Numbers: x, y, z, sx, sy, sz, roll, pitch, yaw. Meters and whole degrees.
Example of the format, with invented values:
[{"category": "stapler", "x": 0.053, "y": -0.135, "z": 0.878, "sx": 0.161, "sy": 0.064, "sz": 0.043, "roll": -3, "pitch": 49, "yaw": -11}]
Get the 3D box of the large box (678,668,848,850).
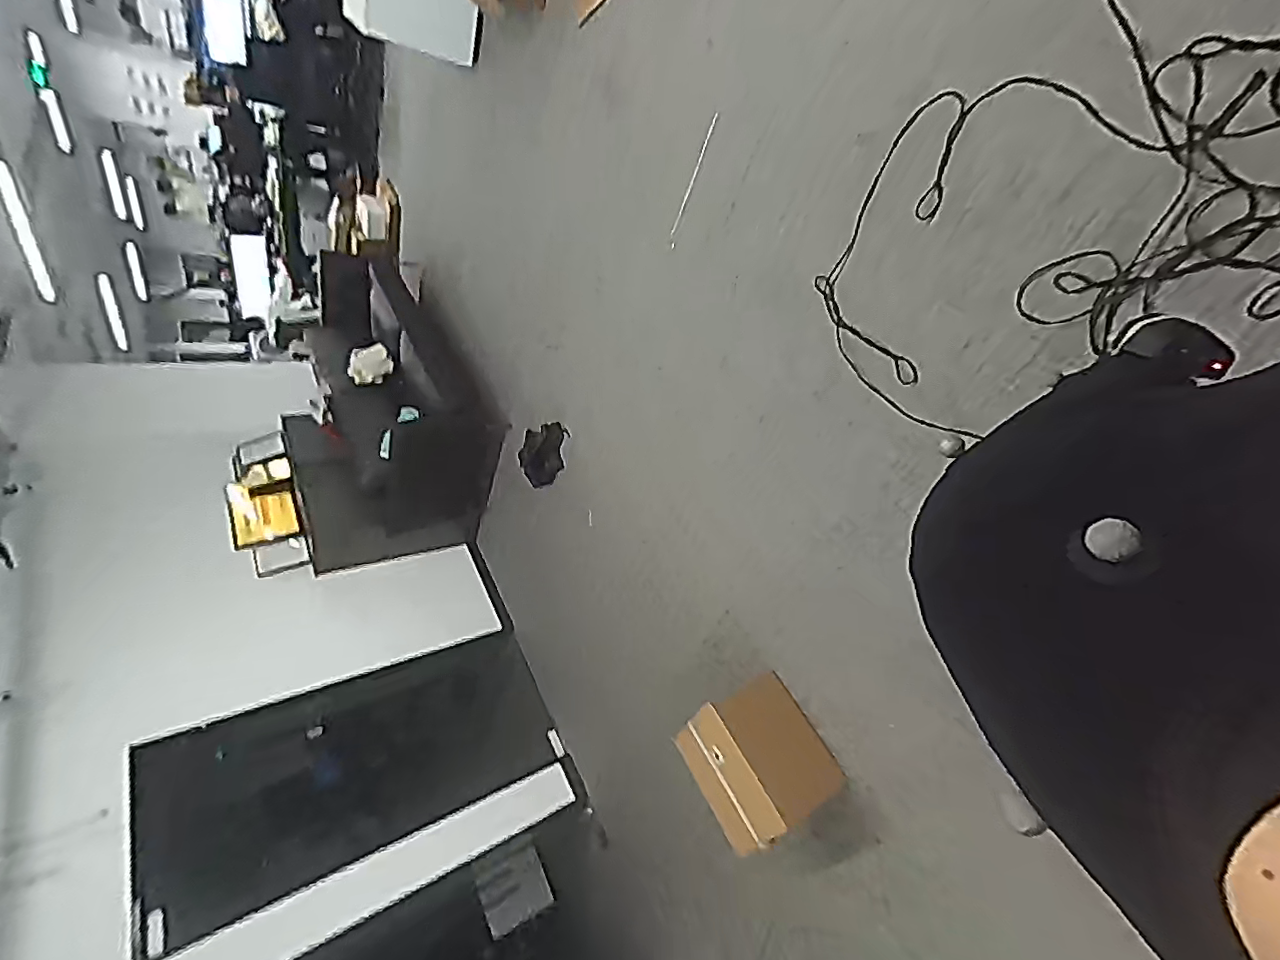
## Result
[{"category": "large box", "x": 0.400, "y": 0.921, "z": 1.816, "sx": 0.408, "sy": 0.320, "sz": 0.320, "roll": 56, "pitch": 137, "yaw": 32}]
